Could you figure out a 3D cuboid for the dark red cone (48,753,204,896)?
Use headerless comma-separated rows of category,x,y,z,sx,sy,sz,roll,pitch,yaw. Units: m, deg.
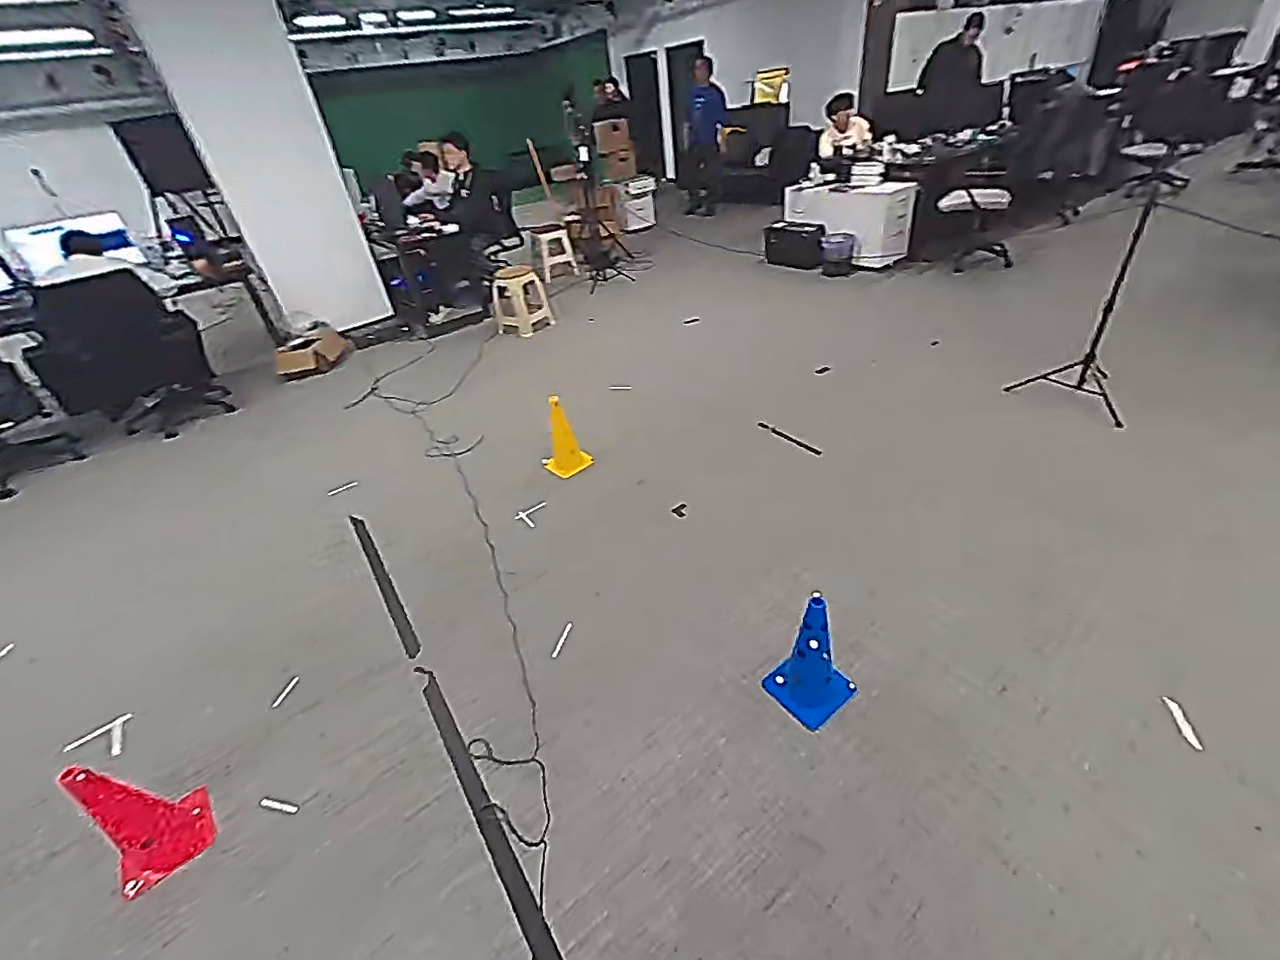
dark red cone,-1.258,0.780,1.294,0.201,0.394,0.202,-32,41,-32

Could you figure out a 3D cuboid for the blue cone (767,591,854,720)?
blue cone,0.463,0.444,1.446,0.192,0.380,0.193,-26,38,-25
